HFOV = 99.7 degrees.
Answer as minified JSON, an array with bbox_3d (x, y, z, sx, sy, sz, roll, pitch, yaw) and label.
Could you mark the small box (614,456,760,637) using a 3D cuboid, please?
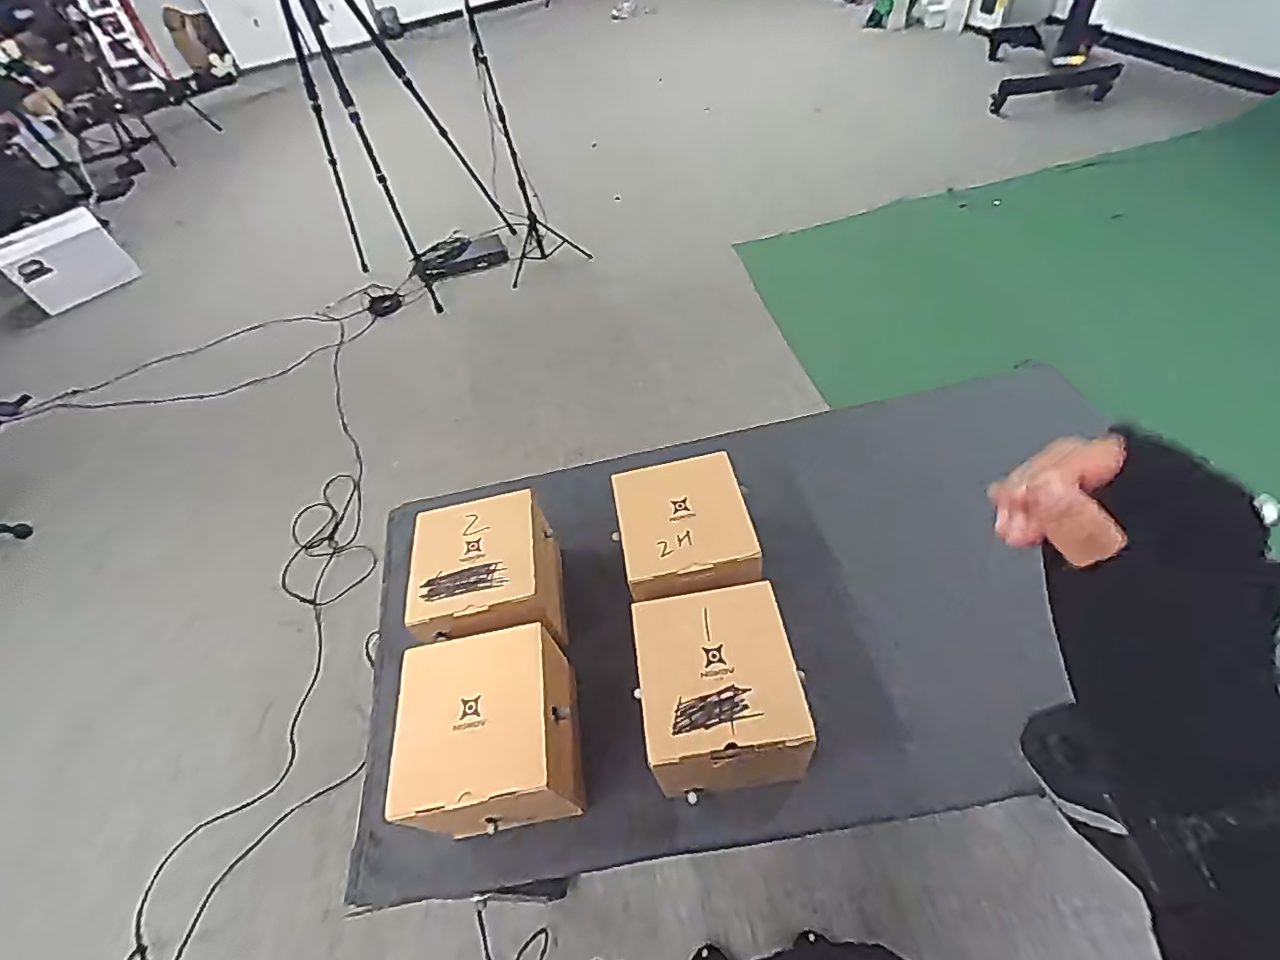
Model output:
[{"bbox_3d":[0.064,0.096,0.765,0.168,0.176,0.179,-12,50,1],"label":"small box"}]
